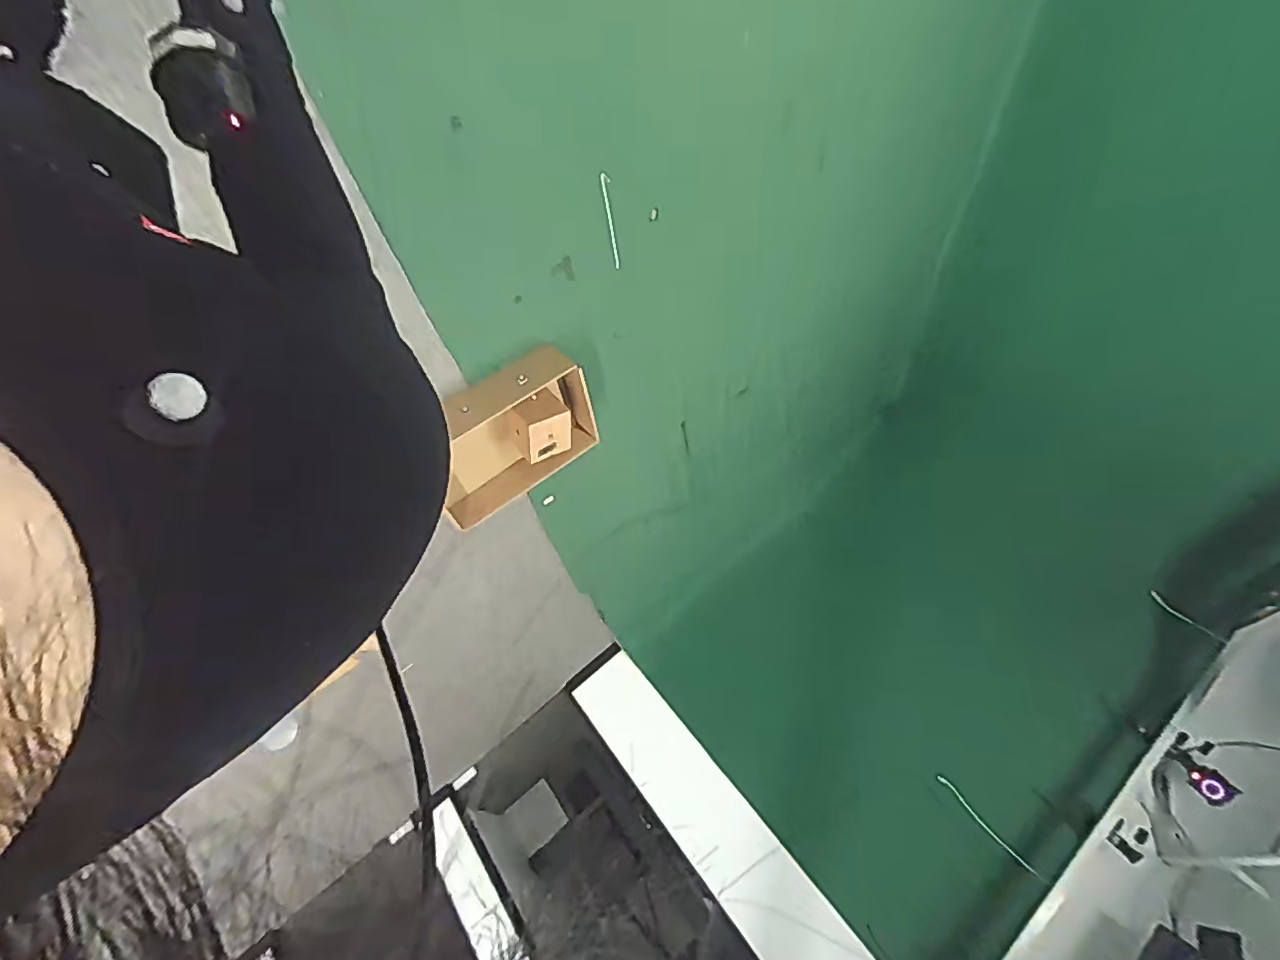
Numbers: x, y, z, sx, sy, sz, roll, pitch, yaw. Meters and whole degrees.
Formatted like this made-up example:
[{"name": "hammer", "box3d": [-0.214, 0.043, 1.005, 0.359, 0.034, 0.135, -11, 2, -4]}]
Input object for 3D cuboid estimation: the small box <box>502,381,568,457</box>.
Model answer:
[{"name": "small box", "box3d": [-0.367, -0.215, 1.889, 0.168, 0.176, 0.179, -26, 144, -29]}]
